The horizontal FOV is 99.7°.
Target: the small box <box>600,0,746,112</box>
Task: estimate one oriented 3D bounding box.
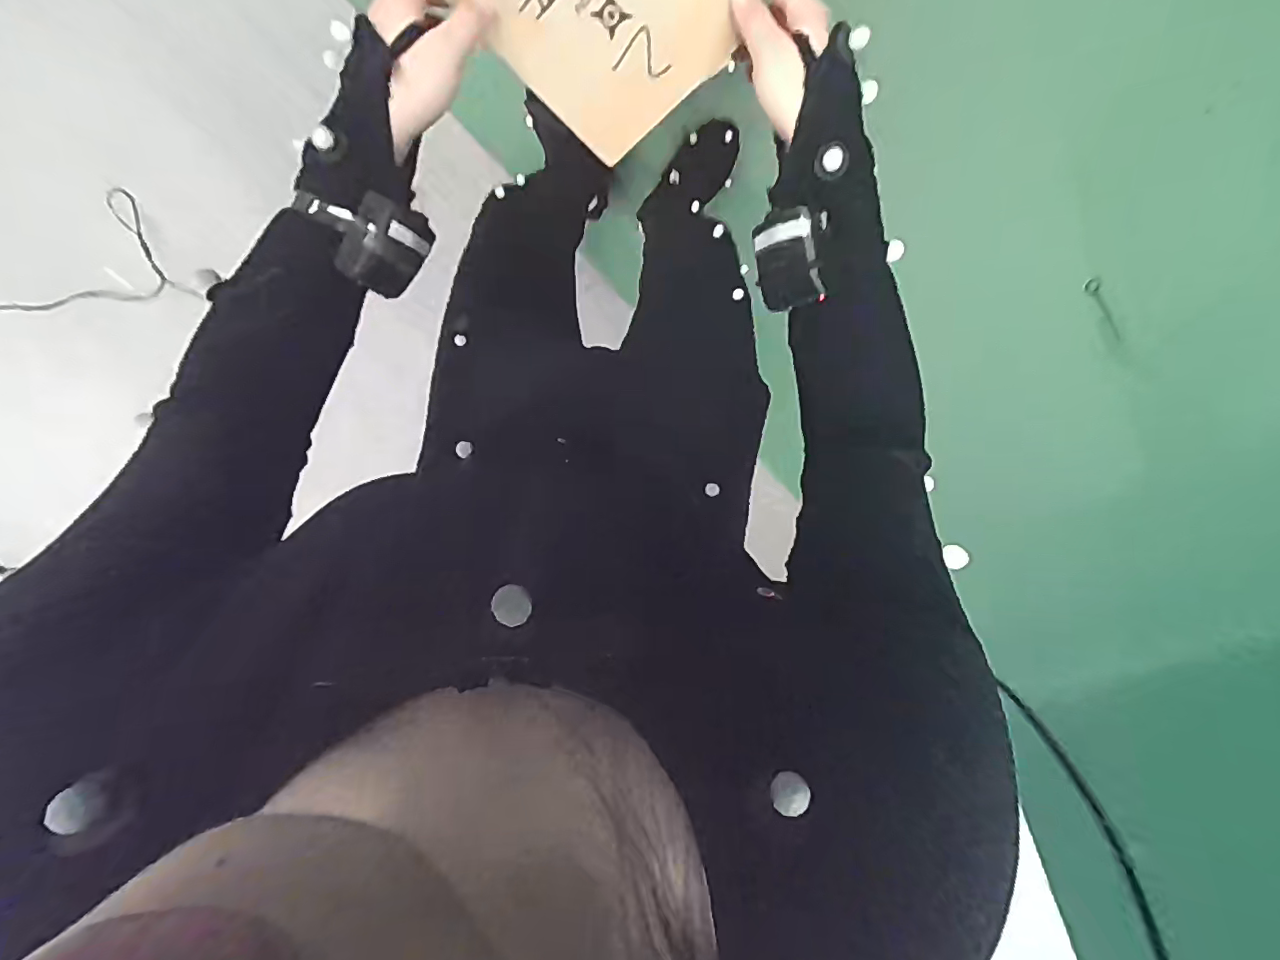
[{"bbox_3d":[0.060,-0.752,0.885,0.179,0.176,0.168,-22,129,25],"label":"small box"}]
